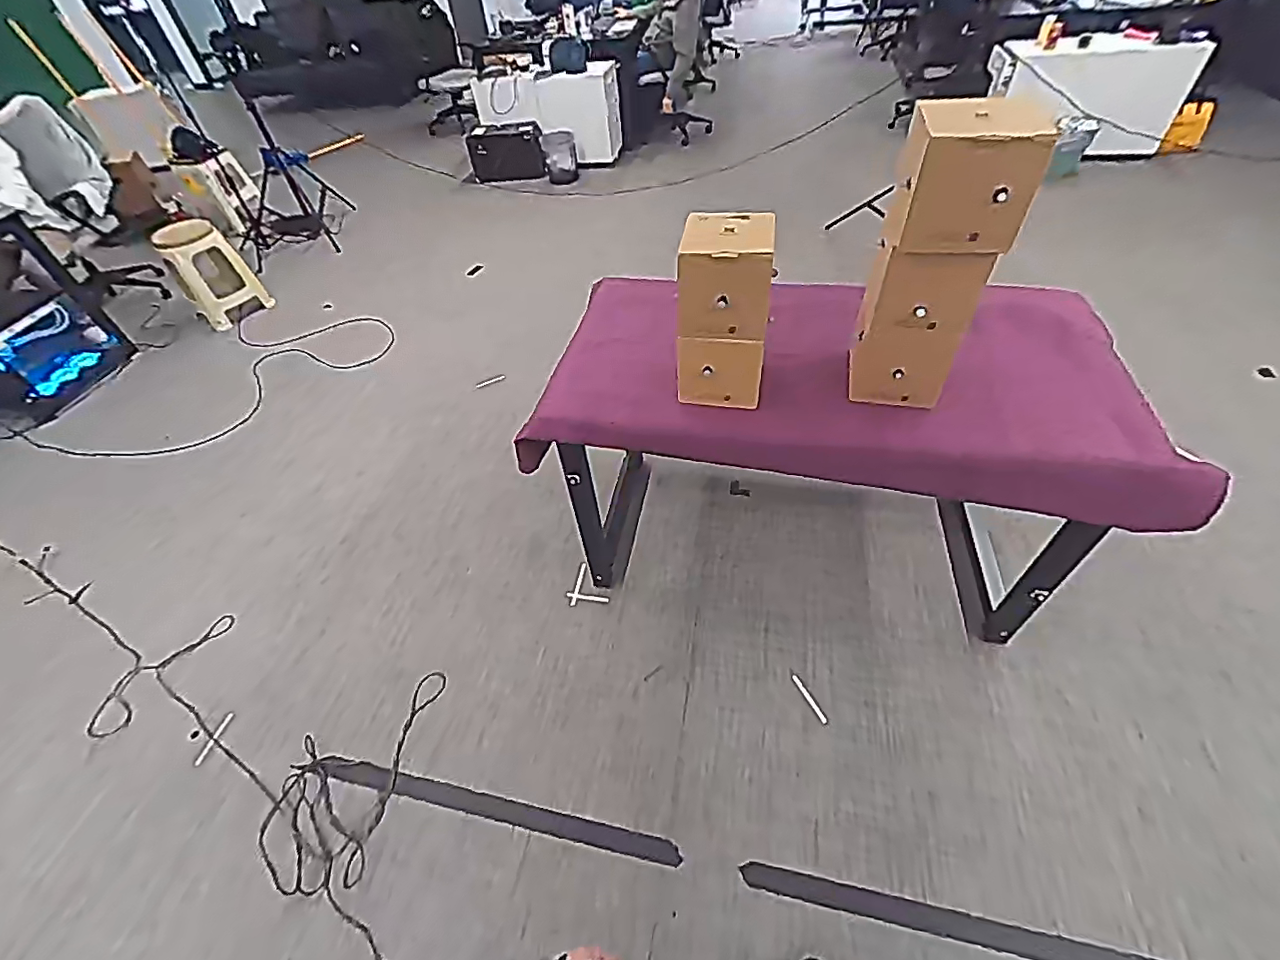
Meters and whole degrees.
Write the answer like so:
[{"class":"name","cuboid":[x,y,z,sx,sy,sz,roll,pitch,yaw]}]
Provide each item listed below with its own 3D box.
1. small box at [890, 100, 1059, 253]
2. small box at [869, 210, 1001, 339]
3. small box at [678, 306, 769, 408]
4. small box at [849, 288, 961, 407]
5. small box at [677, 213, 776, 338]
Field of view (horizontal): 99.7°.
[{"class":"small box","cuboid":[0.507,-0.474,0.852,0.168,0.176,0.179,6,48,10]},{"class":"small box","cuboid":[0.523,-0.382,0.987,0.168,0.176,0.179,8,50,13]},{"class":"small box","cuboid":[0.178,-0.272,1.146,0.168,0.176,0.179,7,48,12]},{"class":"small box","cuboid":[0.532,-0.270,1.107,0.168,0.176,0.179,9,49,13]},{"class":"small box","cuboid":[0.166,-0.387,1.030,0.168,0.176,0.179,5,48,10]}]
